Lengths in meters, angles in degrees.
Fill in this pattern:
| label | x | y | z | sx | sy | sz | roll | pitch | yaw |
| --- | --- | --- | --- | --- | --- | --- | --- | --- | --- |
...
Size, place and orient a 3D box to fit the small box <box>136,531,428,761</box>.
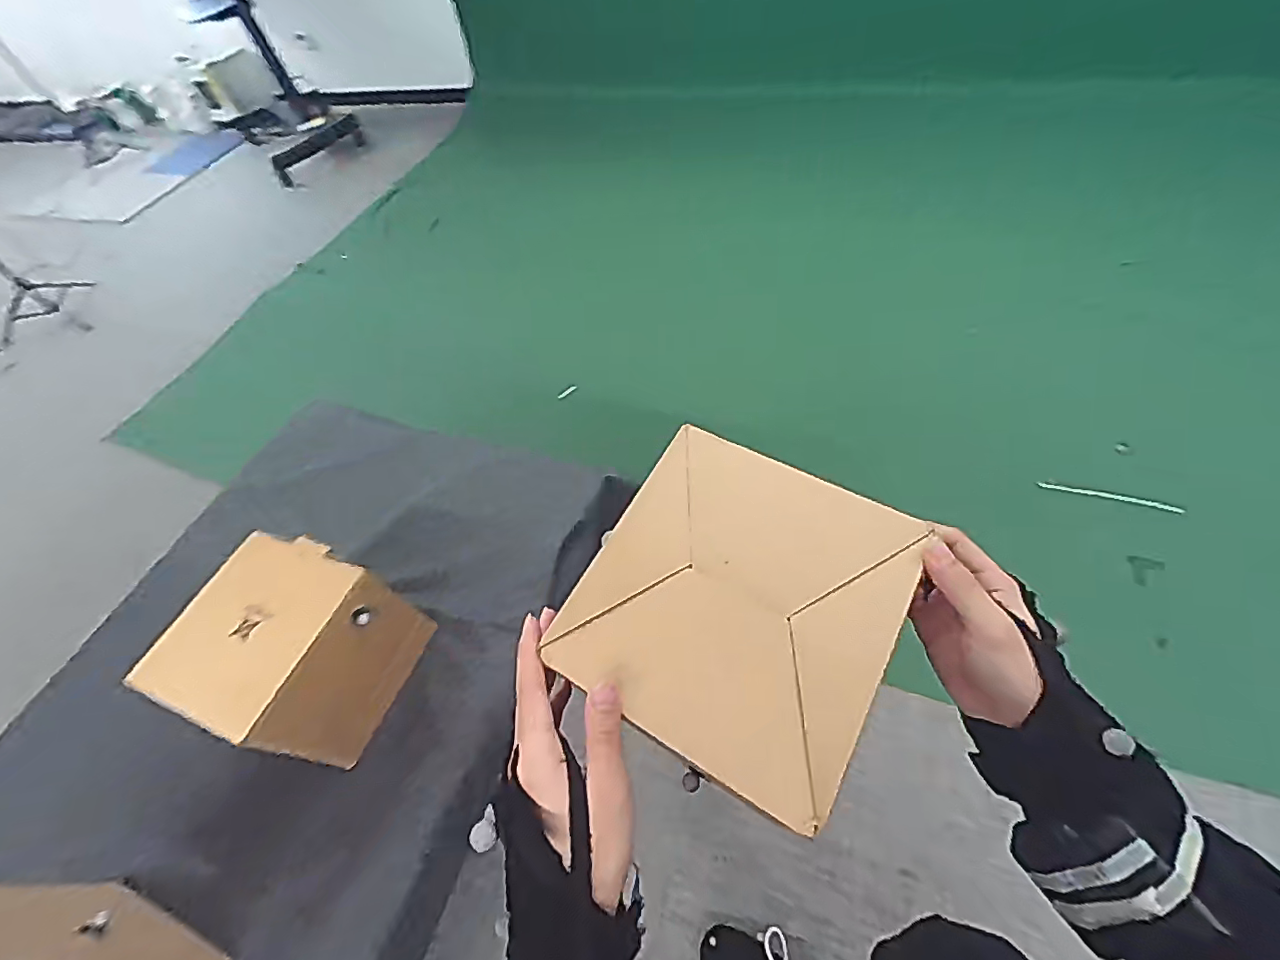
| label | x | y | z | sx | sy | sz | roll | pitch | yaw |
| --- | --- | --- | --- | --- | --- | --- | --- | --- | --- |
| small box | -0.374 | 0.188 | 0.604 | 0.168 | 0.176 | 0.179 | 13 | 58 | 19 |
